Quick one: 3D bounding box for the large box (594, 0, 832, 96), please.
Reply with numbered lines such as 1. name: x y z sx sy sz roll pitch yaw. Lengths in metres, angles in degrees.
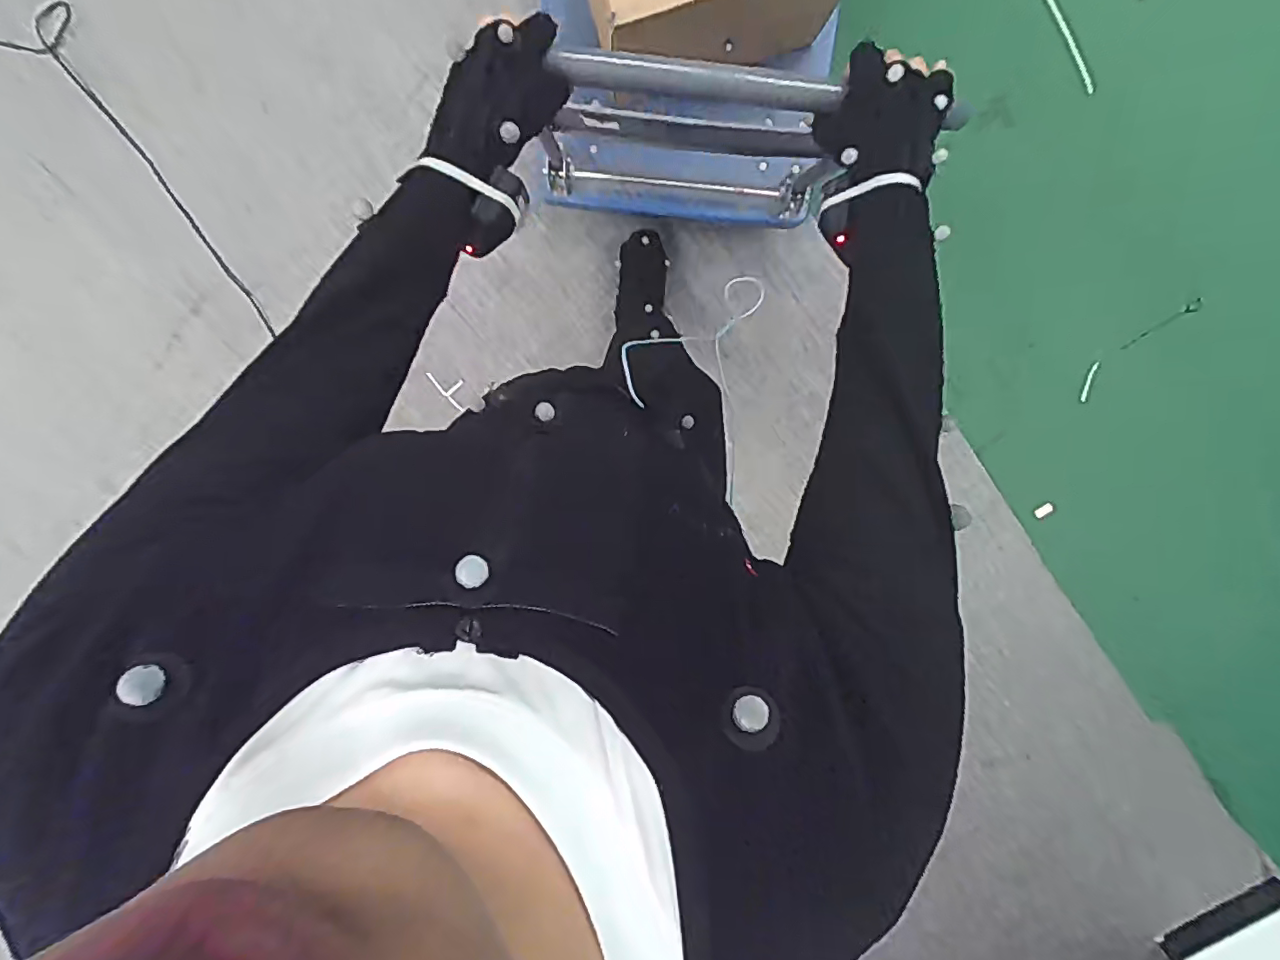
1. large box: 0.109 -0.910 0.882 0.408 0.320 0.320 -15 106 4
